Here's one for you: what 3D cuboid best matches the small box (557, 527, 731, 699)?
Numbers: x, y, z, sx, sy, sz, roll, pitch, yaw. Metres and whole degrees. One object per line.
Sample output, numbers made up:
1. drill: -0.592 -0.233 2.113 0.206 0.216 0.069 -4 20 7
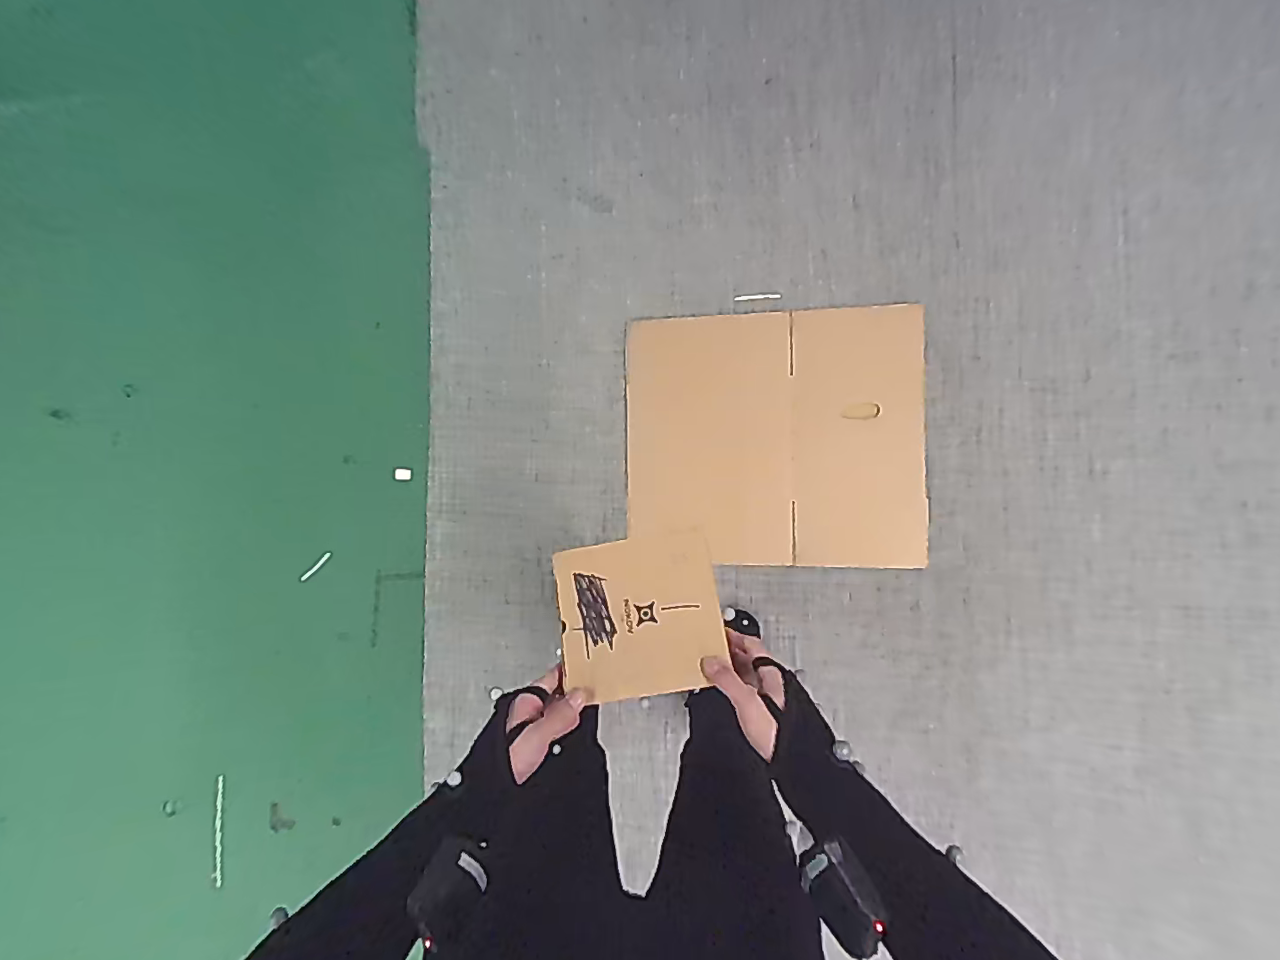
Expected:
1. small box: 0.012 0.167 0.658 0.179 0.176 0.168 -10 71 6
